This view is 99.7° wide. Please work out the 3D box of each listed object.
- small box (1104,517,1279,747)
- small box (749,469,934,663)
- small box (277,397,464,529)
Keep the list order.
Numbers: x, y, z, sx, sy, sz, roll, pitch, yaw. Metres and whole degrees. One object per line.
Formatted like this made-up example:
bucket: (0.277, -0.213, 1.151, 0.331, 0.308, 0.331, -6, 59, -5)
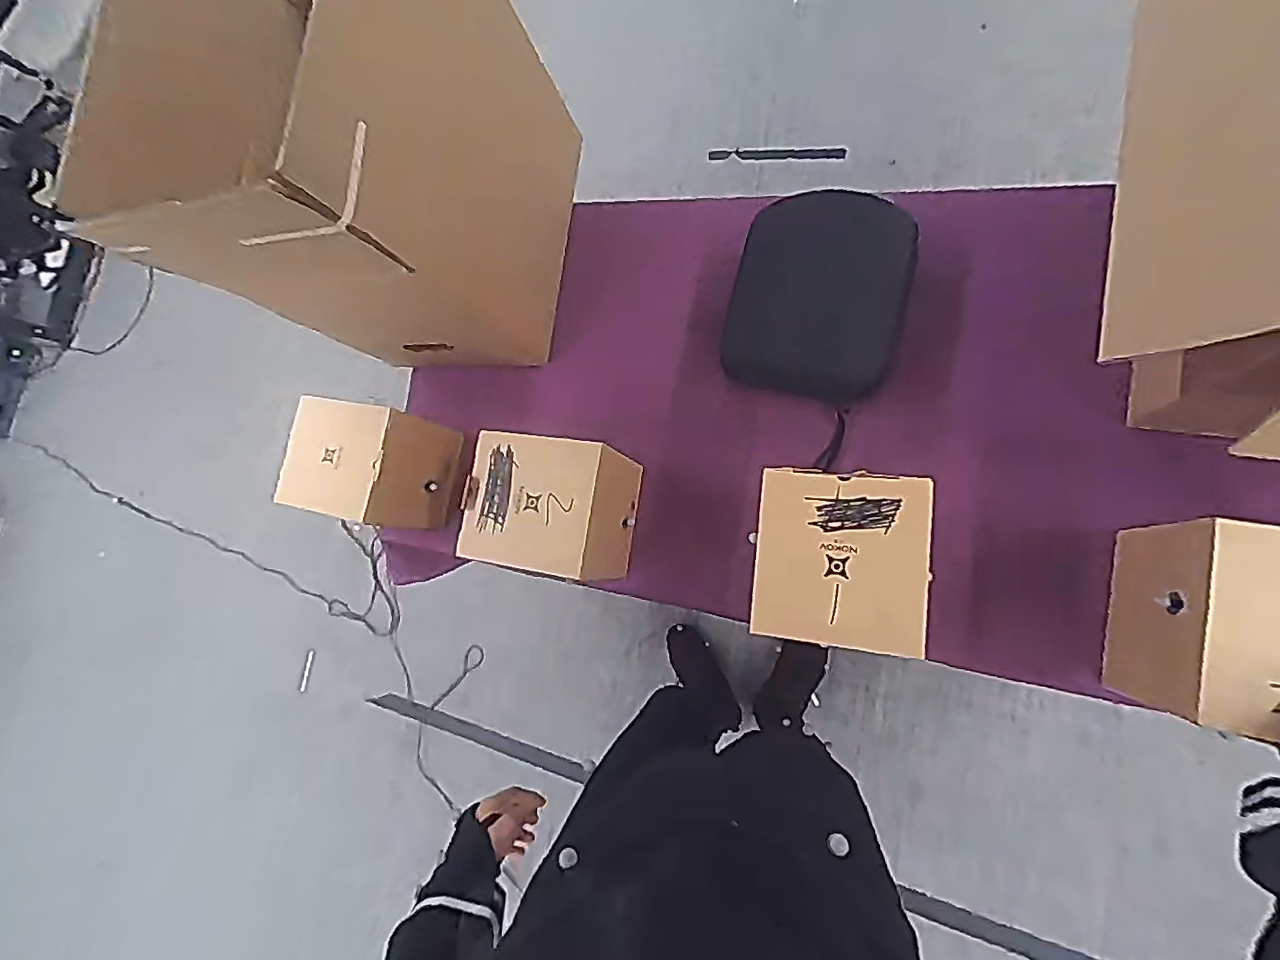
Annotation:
small box: (0.564, 0.141, 0.492, 0.168, 0.176, 0.179, 10, 84, 21)
small box: (0.223, 0.092, 0.616, 0.168, 0.176, 0.179, 4, 84, 19)
small box: (-0.412, -0.020, 0.848, 0.179, 0.176, 0.168, 10, 84, 18)
